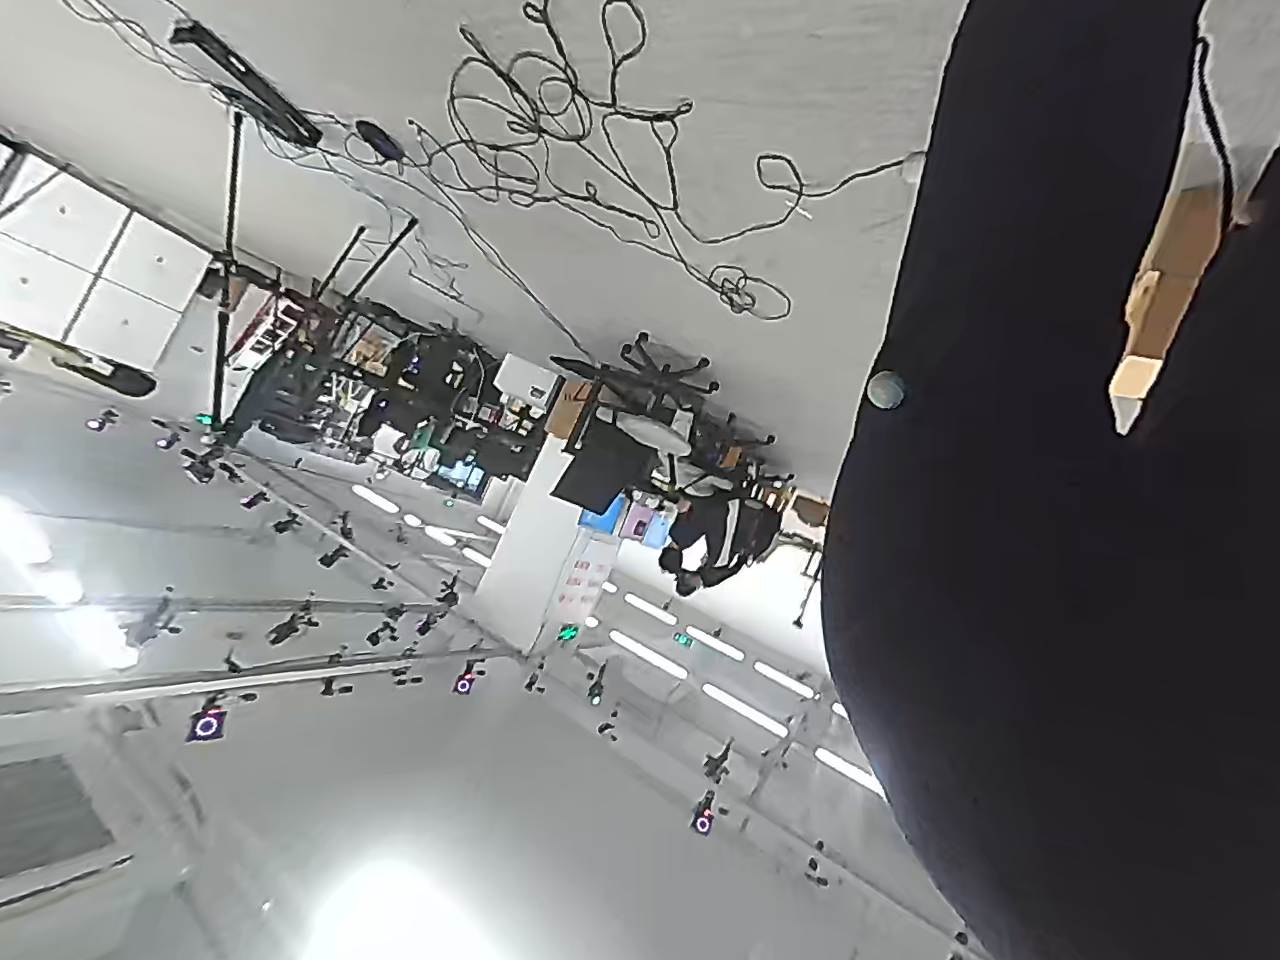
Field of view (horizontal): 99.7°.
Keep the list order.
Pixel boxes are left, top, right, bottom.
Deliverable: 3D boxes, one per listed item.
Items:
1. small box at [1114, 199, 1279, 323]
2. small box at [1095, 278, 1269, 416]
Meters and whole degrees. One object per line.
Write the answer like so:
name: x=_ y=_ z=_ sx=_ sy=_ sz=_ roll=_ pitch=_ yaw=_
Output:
small box: x=1.047 y=-0.397 z=1.011 sx=0.179 sy=0.176 sz=0.168 roll=21 pitch=175 yaw=30
small box: x=0.993 y=-0.243 z=1.001 sx=0.168 sy=0.176 sz=0.179 roll=21 pitch=174 yaw=30
